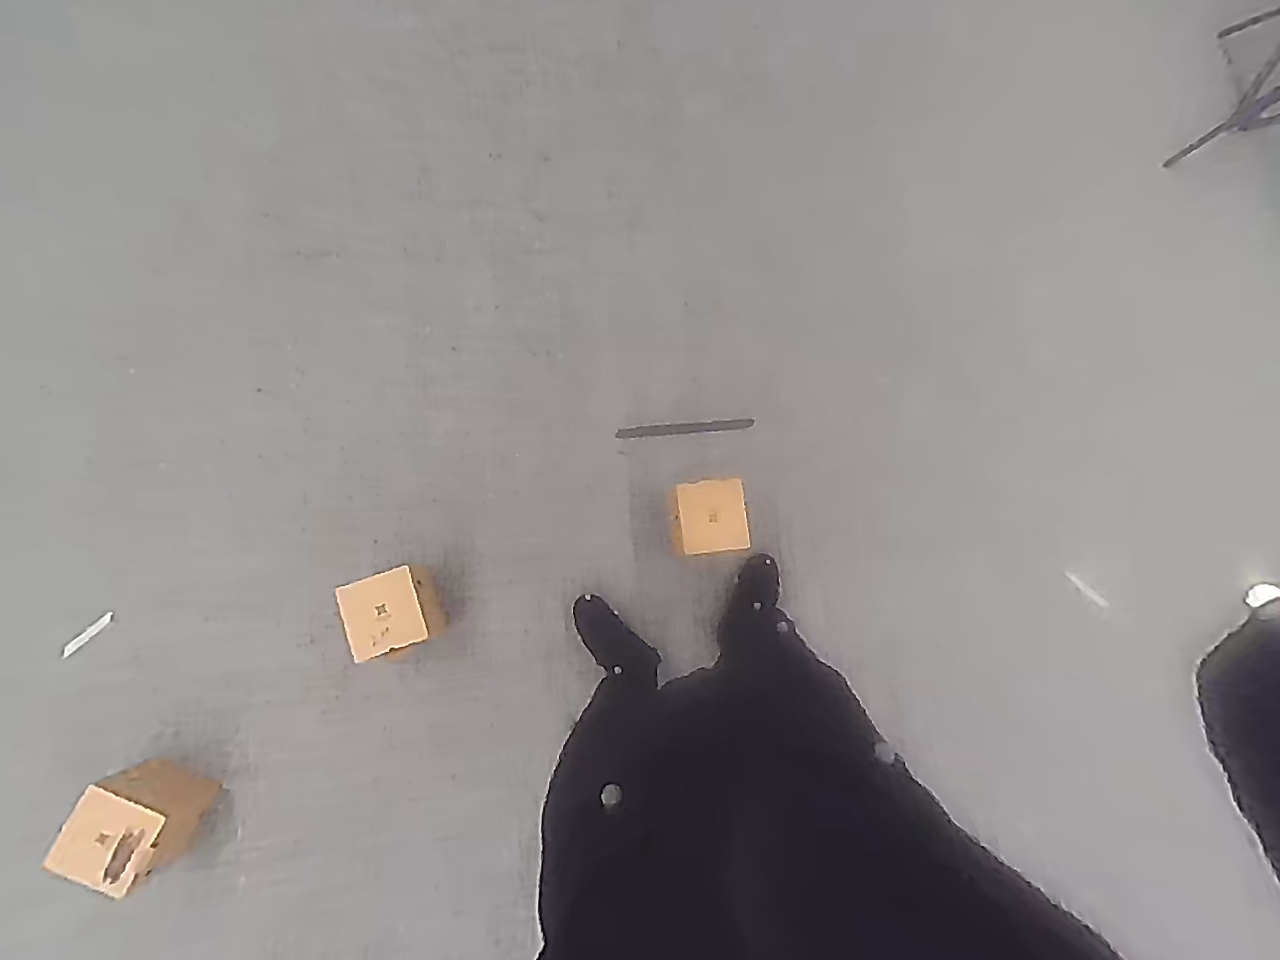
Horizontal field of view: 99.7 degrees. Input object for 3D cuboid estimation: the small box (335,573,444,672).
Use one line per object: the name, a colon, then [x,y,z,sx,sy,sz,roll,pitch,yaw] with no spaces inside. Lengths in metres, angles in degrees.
small box: [-0.583,0.329,1.278,0.168,0.176,0.179,-19,83,-8]

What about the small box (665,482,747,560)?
small box: [0.164,0.111,1.389,0.168,0.176,0.179,-6,81,-6]
